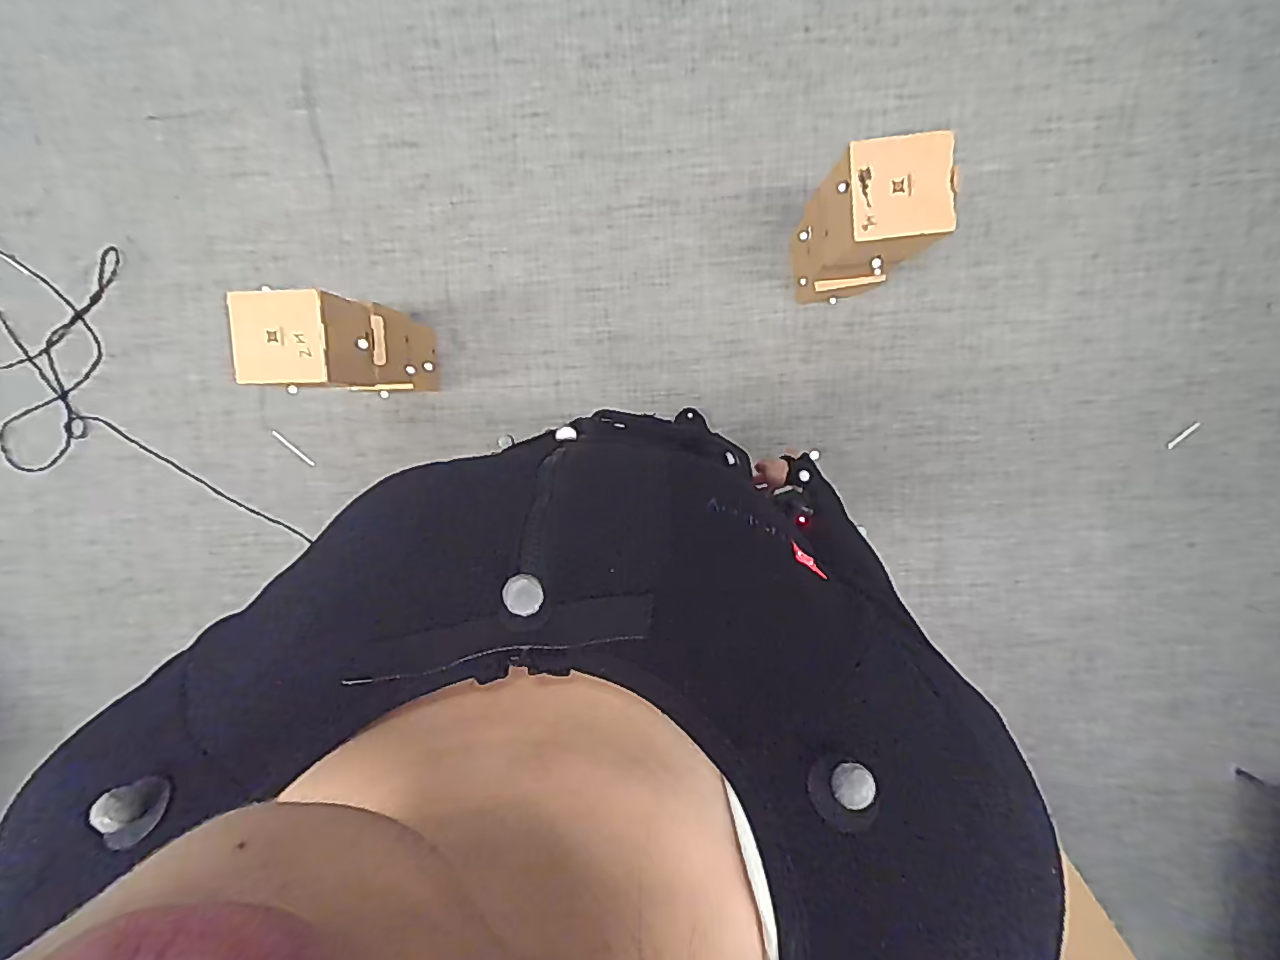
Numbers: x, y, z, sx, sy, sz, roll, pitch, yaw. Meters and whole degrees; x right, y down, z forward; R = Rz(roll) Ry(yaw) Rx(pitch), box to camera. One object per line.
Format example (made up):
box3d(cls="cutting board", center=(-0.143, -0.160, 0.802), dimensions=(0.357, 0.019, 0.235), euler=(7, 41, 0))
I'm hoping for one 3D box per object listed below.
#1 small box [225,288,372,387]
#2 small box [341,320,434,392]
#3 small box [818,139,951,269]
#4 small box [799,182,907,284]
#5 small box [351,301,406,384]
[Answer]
box3d(cls="small box", center=(-0.653, -0.269, 1.051), dimensions=(0.179, 0.176, 0.168), euler=(-1, 98, 2))
box3d(cls="small box", center=(-0.638, -0.312, 1.377), dimensions=(0.179, 0.176, 0.168), euler=(-1, 97, 2))
box3d(cls="small box", center=(0.447, -0.503, 1.007), dimensions=(0.179, 0.176, 0.168), euler=(-5, 96, 1))
box3d(cls="small box", center=(0.456, -0.532, 1.169), dimensions=(0.179, 0.176, 0.168), euler=(-4, 96, 3))
box3d(cls="small box", center=(-0.643, -0.303, 1.213), dimensions=(0.179, 0.176, 0.168), euler=(0, 97, 3))
